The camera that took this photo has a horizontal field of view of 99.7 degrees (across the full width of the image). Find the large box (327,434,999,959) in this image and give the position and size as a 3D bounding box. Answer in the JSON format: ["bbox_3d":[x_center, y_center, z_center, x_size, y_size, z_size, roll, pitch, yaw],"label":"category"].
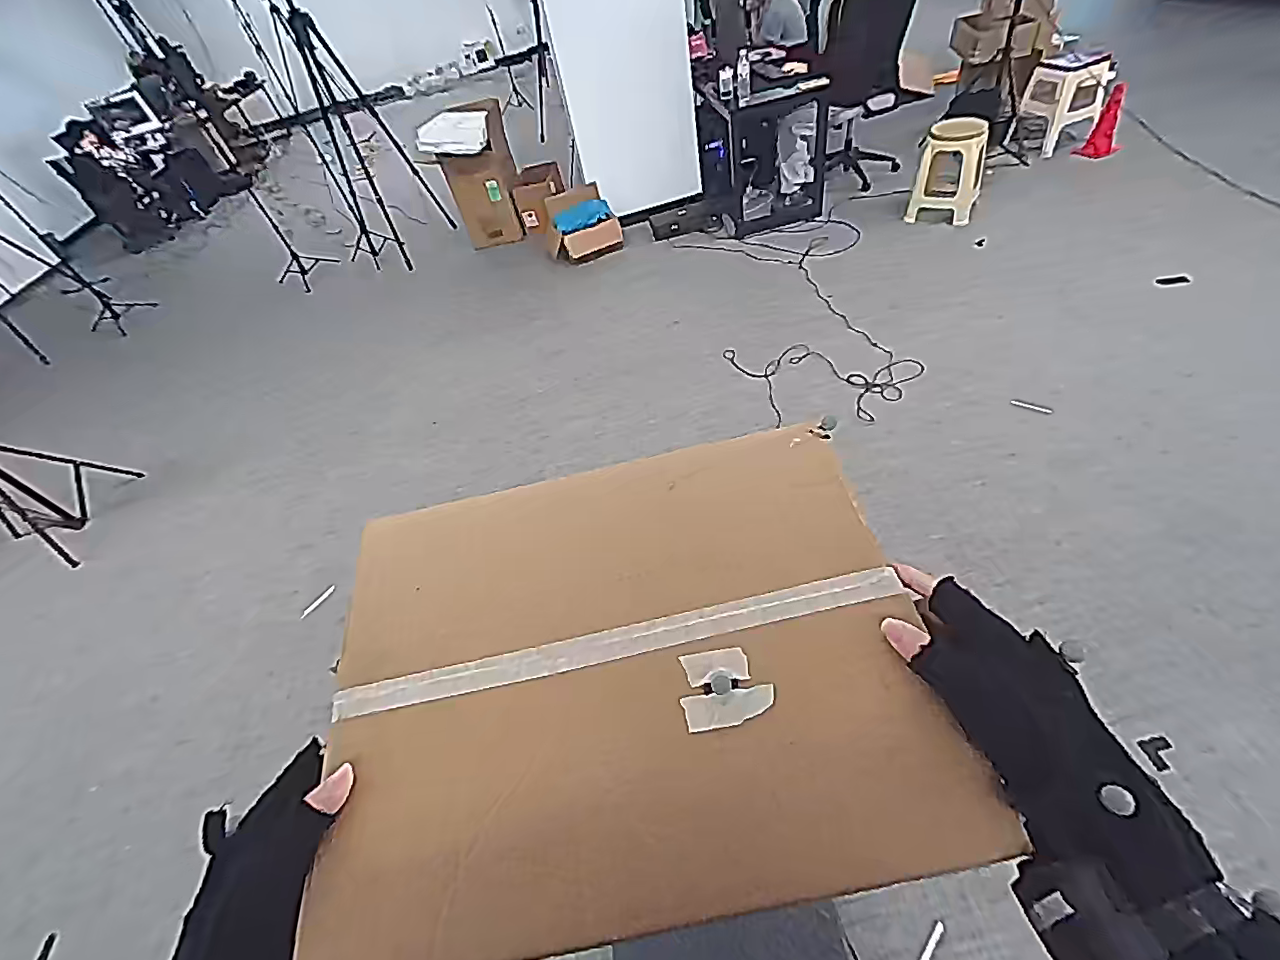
[{"bbox_3d":[0.007,0.208,0.513,0.408,0.320,0.320,-13,54,1],"label":"large box"}]
